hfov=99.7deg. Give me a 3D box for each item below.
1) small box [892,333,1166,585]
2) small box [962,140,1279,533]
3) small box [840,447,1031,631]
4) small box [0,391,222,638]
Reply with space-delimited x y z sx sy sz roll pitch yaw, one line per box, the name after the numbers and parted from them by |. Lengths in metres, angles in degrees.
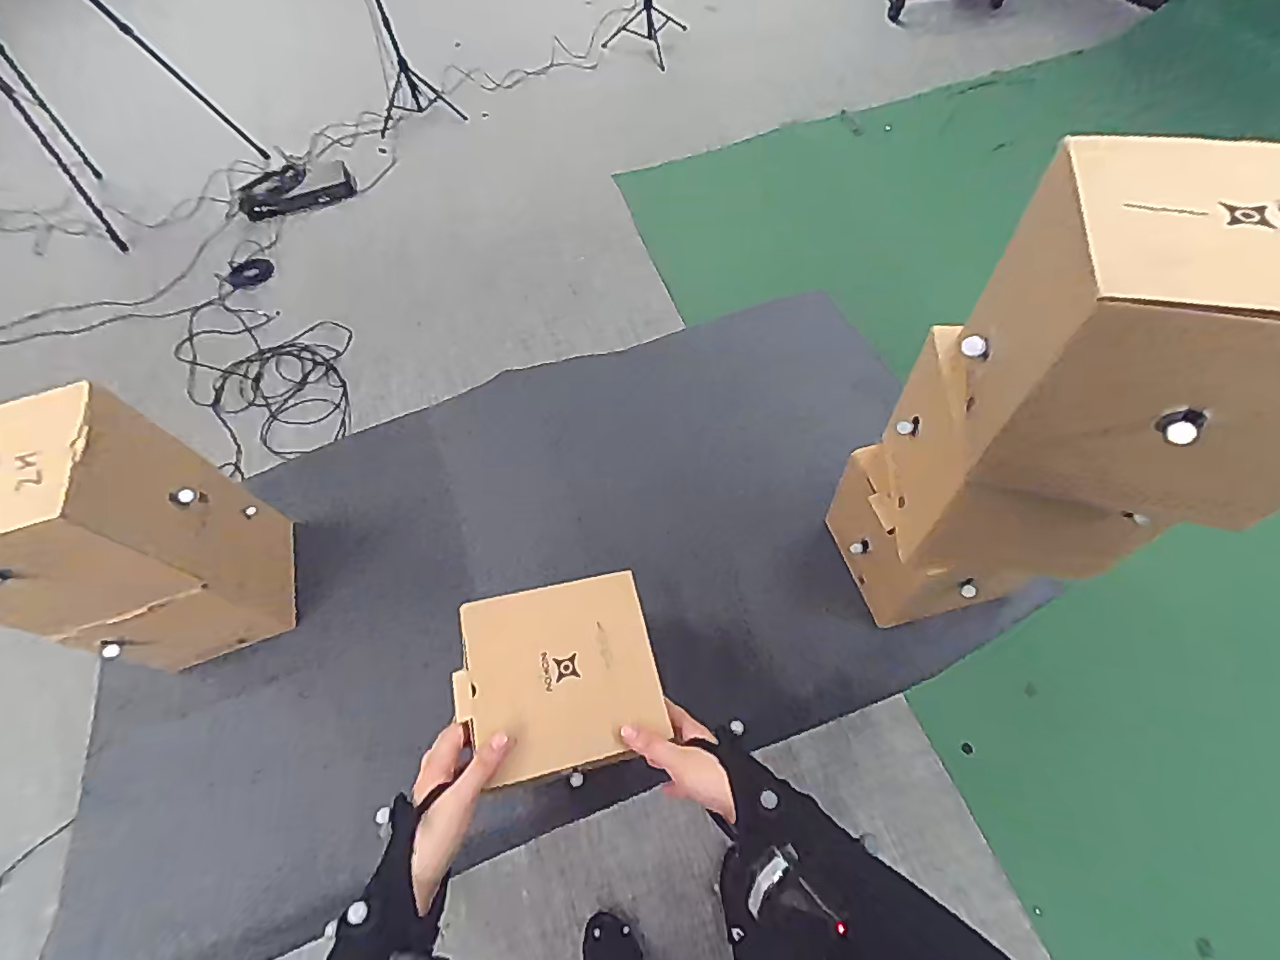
0.347 -0.014 0.498 0.179 0.176 0.168 4 57 8 | small box
0.337 -0.084 0.347 0.179 0.176 0.168 12 59 14 | small box
0.355 0.062 0.643 0.179 0.176 0.168 -15 57 -2 | small box
-0.585 0.044 0.557 0.179 0.176 0.168 -19 61 -6 | small box
